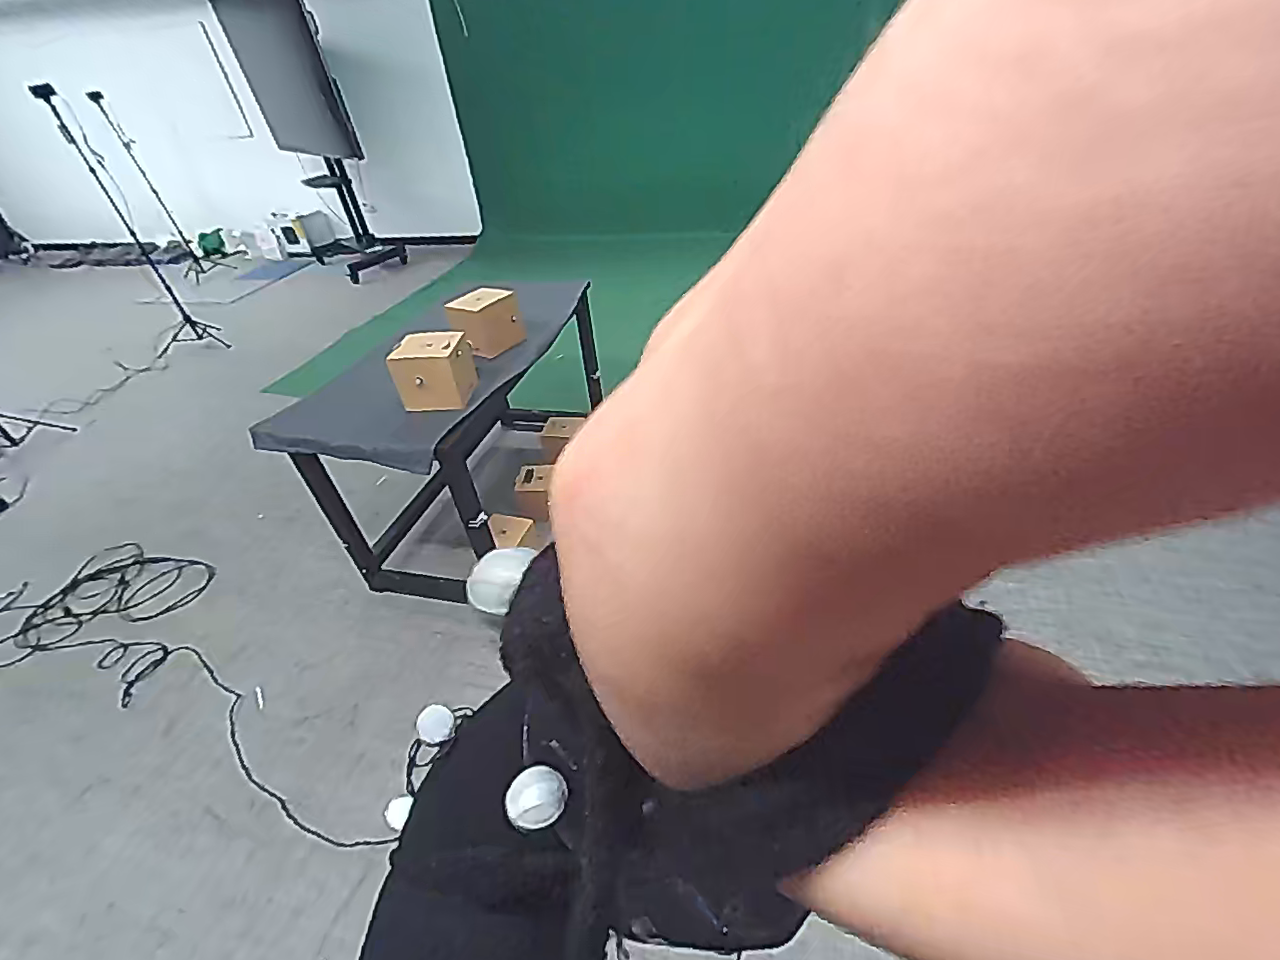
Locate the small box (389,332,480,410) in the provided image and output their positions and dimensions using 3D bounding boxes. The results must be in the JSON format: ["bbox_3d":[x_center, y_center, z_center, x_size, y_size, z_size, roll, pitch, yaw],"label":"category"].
[{"bbox_3d":[-0.587,-0.313,1.569,0.179,0.176,0.168,-2,39,4],"label":"small box"}]

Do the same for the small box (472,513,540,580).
[{"bbox_3d":[-0.493,0.252,2.025,0.179,0.176,0.168,8,41,17],"label":"small box"}]

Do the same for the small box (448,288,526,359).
[{"bbox_3d":[-0.508,-0.531,1.827,0.168,0.176,0.179,18,46,31],"label":"small box"}]

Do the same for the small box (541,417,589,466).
[{"bbox_3d":[-0.345,-0.180,2.529,0.179,0.176,0.168,3,39,10],"label":"small box"}]
